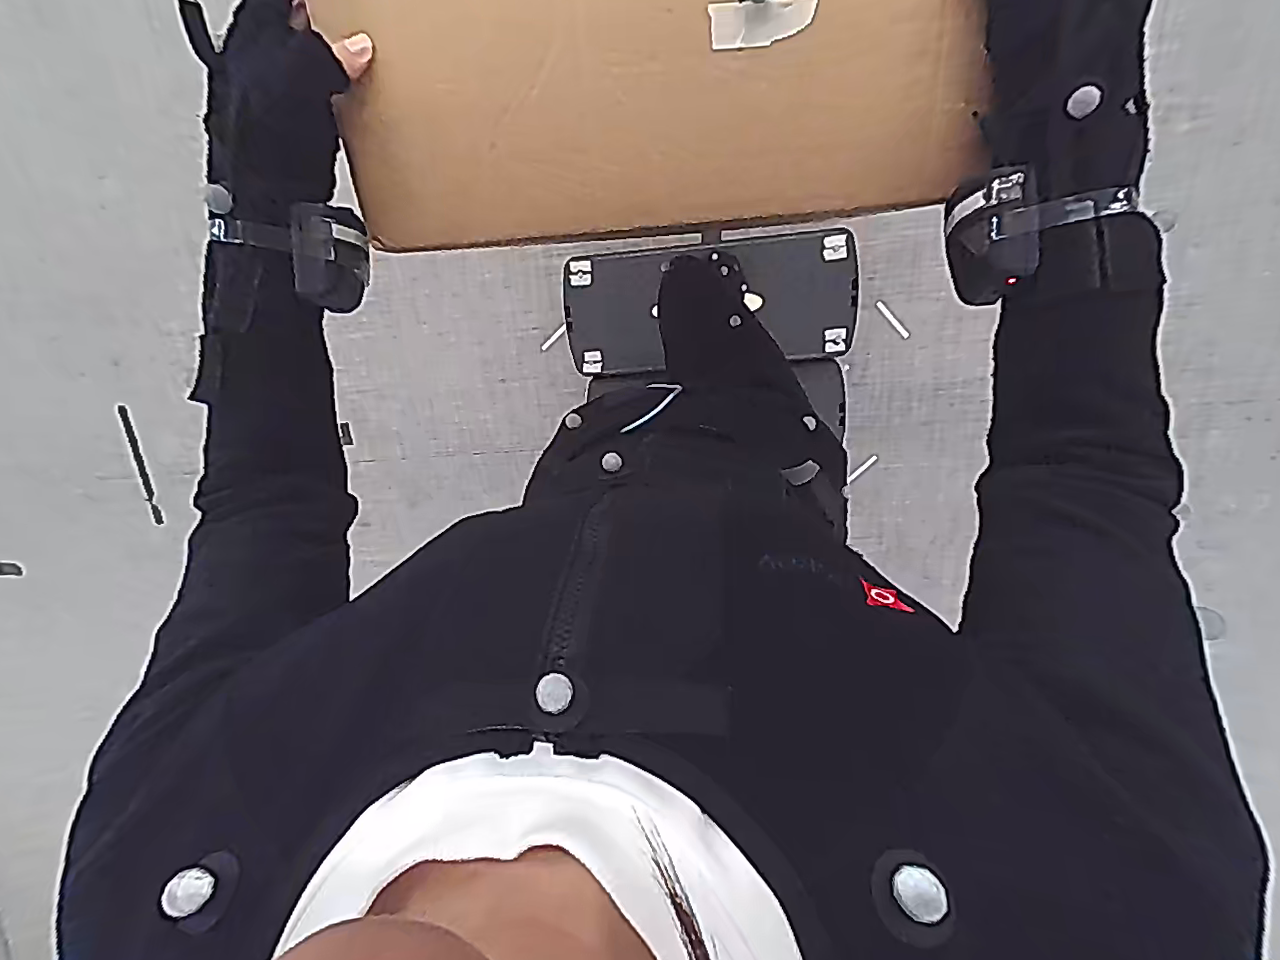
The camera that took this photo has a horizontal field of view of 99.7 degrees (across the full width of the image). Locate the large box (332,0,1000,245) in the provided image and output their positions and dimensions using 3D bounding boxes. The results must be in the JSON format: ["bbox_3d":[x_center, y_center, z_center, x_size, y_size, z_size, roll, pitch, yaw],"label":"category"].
[{"bbox_3d":[0.017,-0.381,0.442,0.408,0.320,0.320,-2,114,8],"label":"large box"}]

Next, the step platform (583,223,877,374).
[{"bbox_3d":[0.205,-0.430,1.315,0.684,0.204,0.286,-4,107,8],"label":"step platform"}]
